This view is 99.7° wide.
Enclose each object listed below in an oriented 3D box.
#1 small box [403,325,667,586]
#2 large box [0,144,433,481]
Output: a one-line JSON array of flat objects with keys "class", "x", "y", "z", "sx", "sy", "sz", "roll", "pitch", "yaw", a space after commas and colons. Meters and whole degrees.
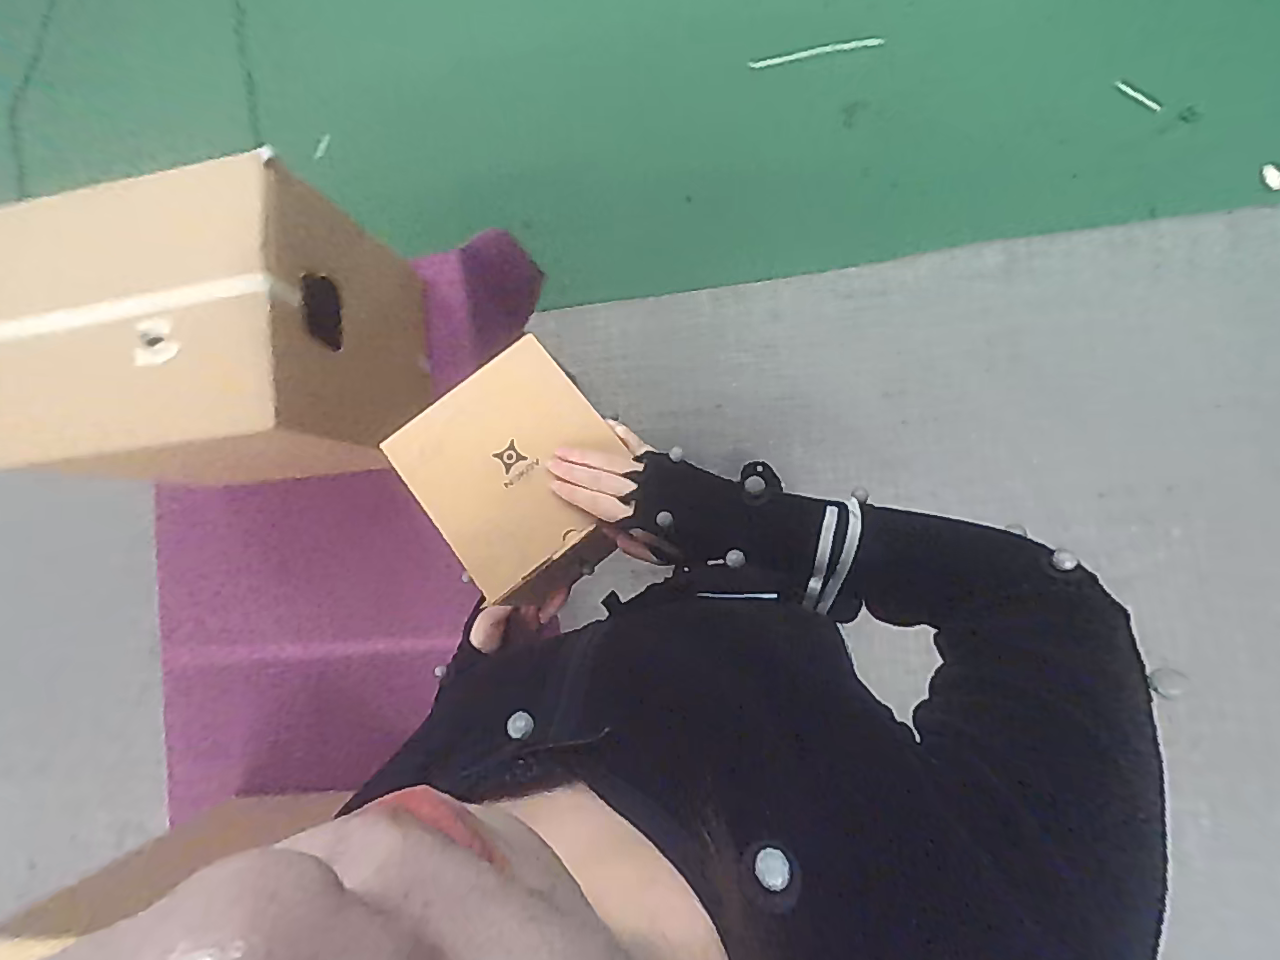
[{"class": "small box", "x": -0.090, "y": -0.010, "z": 0.537, "sx": 0.168, "sy": 0.176, "sz": 0.179, "roll": -37, "pitch": 78, "yaw": -6}, {"class": "large box", "x": -0.554, "y": -0.185, "z": 0.750, "sx": 0.408, "sy": 0.320, "sz": 0.320, "roll": -6, "pitch": 85, "yaw": 7}]
